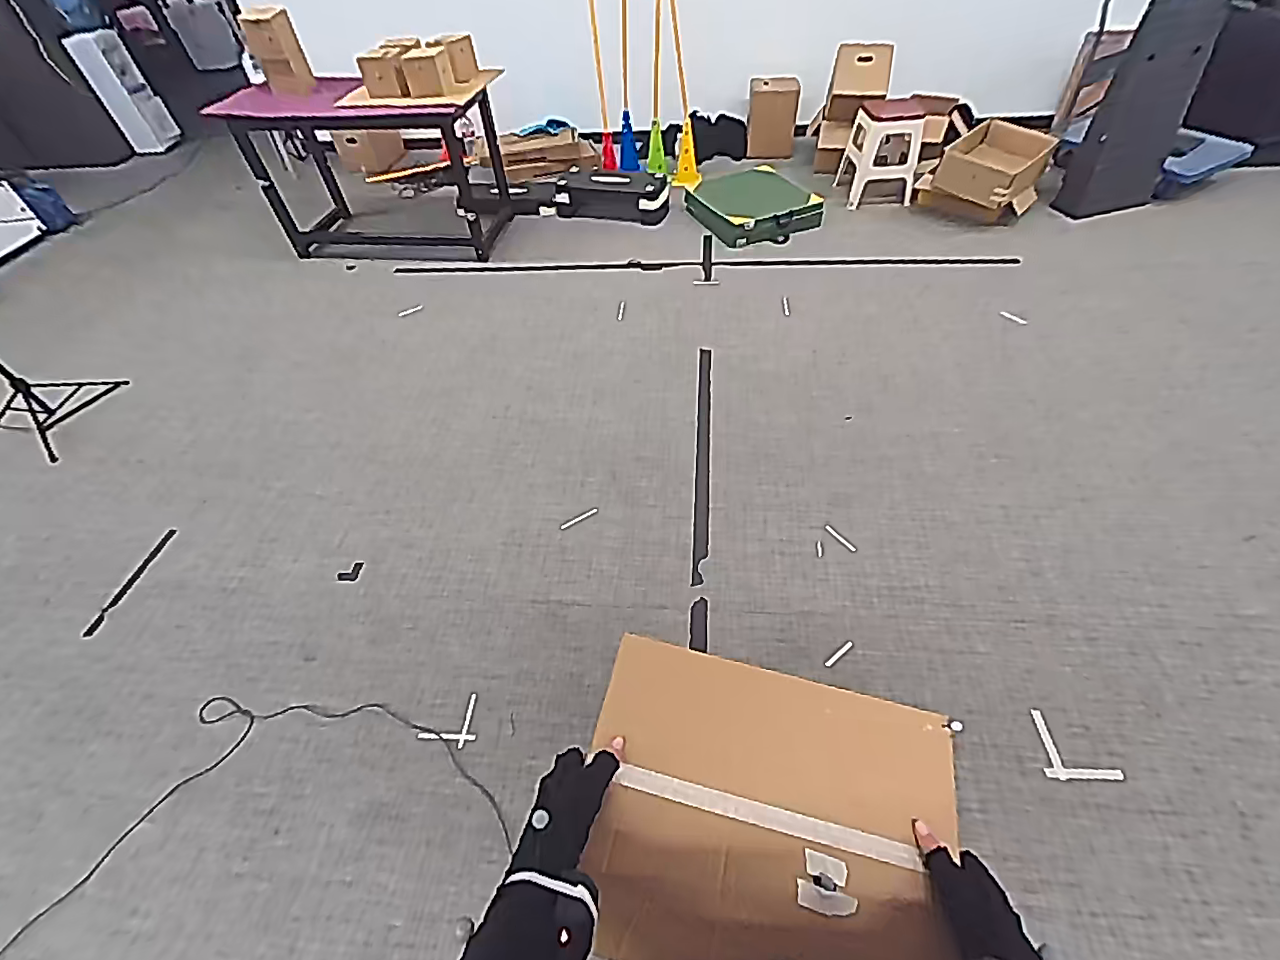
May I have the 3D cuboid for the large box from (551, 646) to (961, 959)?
[{"bbox_3d":[0.134,0.459,0.711,0.408,0.320,0.320,13,56,8],"label":"large box"}]
